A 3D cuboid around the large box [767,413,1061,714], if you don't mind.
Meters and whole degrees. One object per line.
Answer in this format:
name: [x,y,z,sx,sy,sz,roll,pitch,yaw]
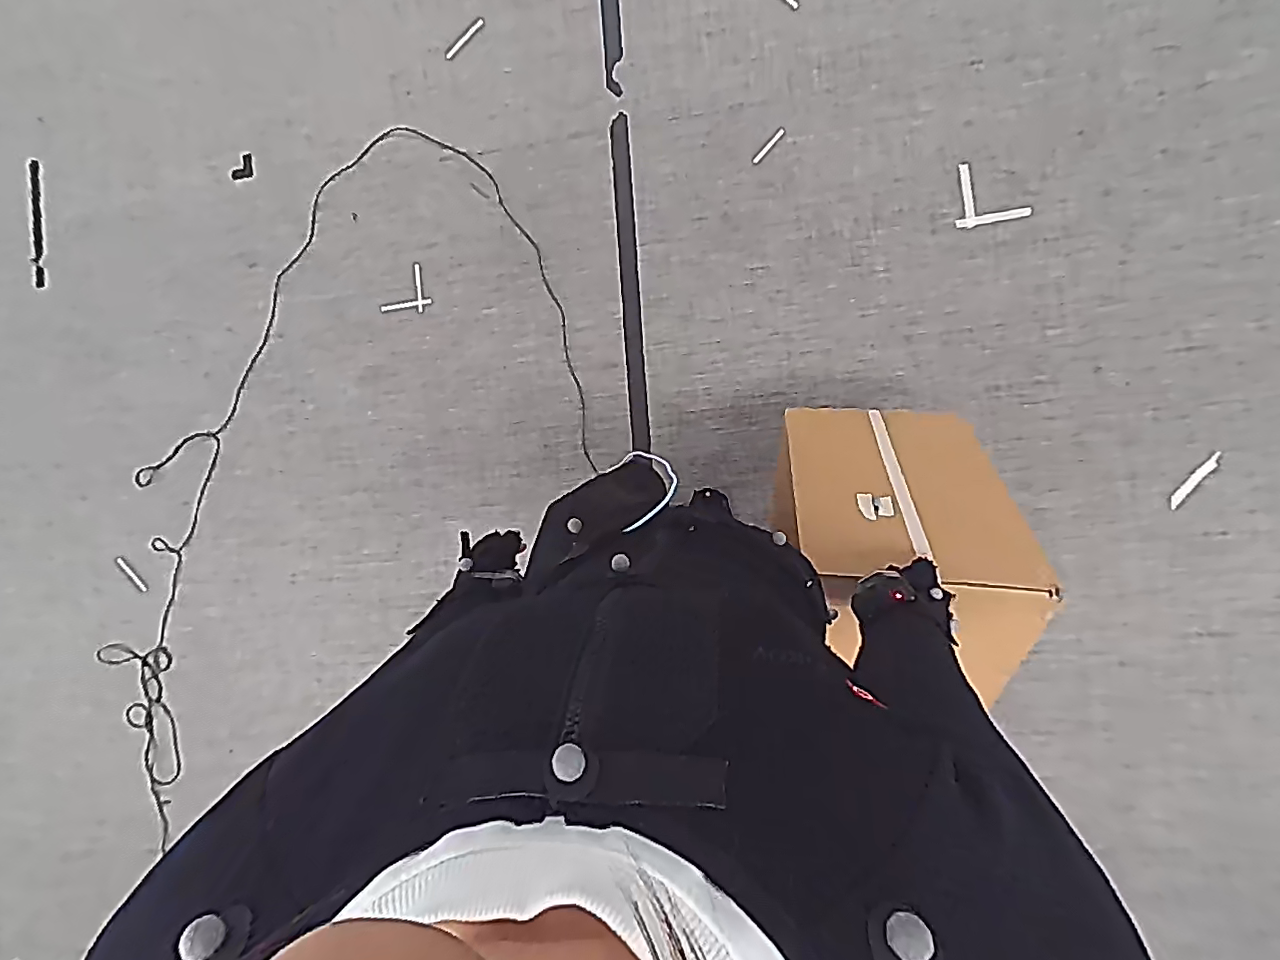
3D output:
large box: [0.400,0.125,0.929,0.320,0.408,0.320,2,130,8]
